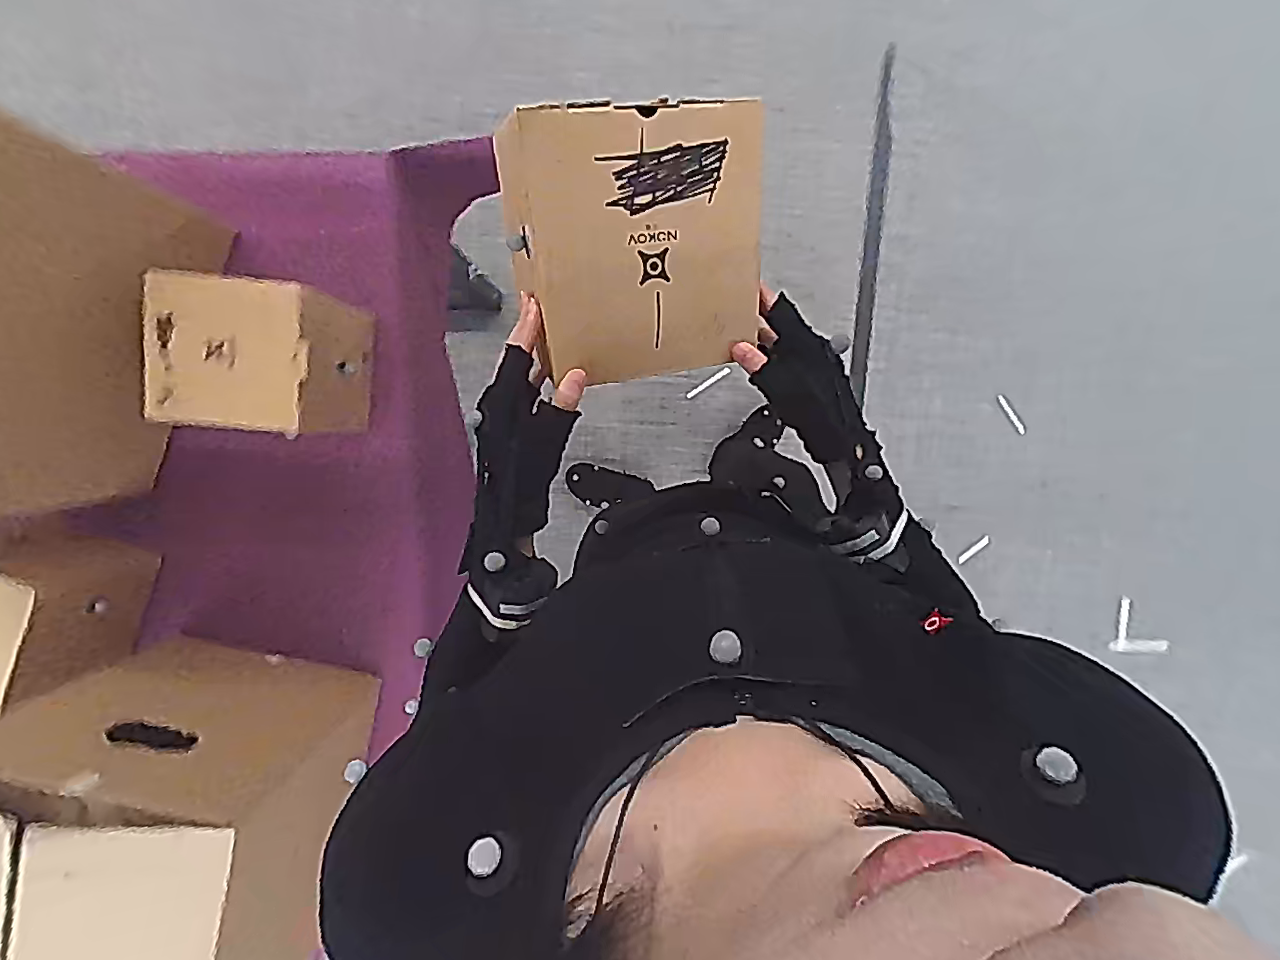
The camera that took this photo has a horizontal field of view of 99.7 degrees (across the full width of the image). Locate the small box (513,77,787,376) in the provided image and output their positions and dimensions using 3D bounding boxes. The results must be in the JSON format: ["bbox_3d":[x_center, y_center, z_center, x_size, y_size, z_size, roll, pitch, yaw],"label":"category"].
[{"bbox_3d":[-0.002,-0.196,0.432,0.168,0.176,0.179,-10,118,-14],"label":"small box"}]

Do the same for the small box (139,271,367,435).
[{"bbox_3d":[-0.466,-0.148,0.677,0.179,0.176,0.168,5,95,-2],"label":"small box"}]
